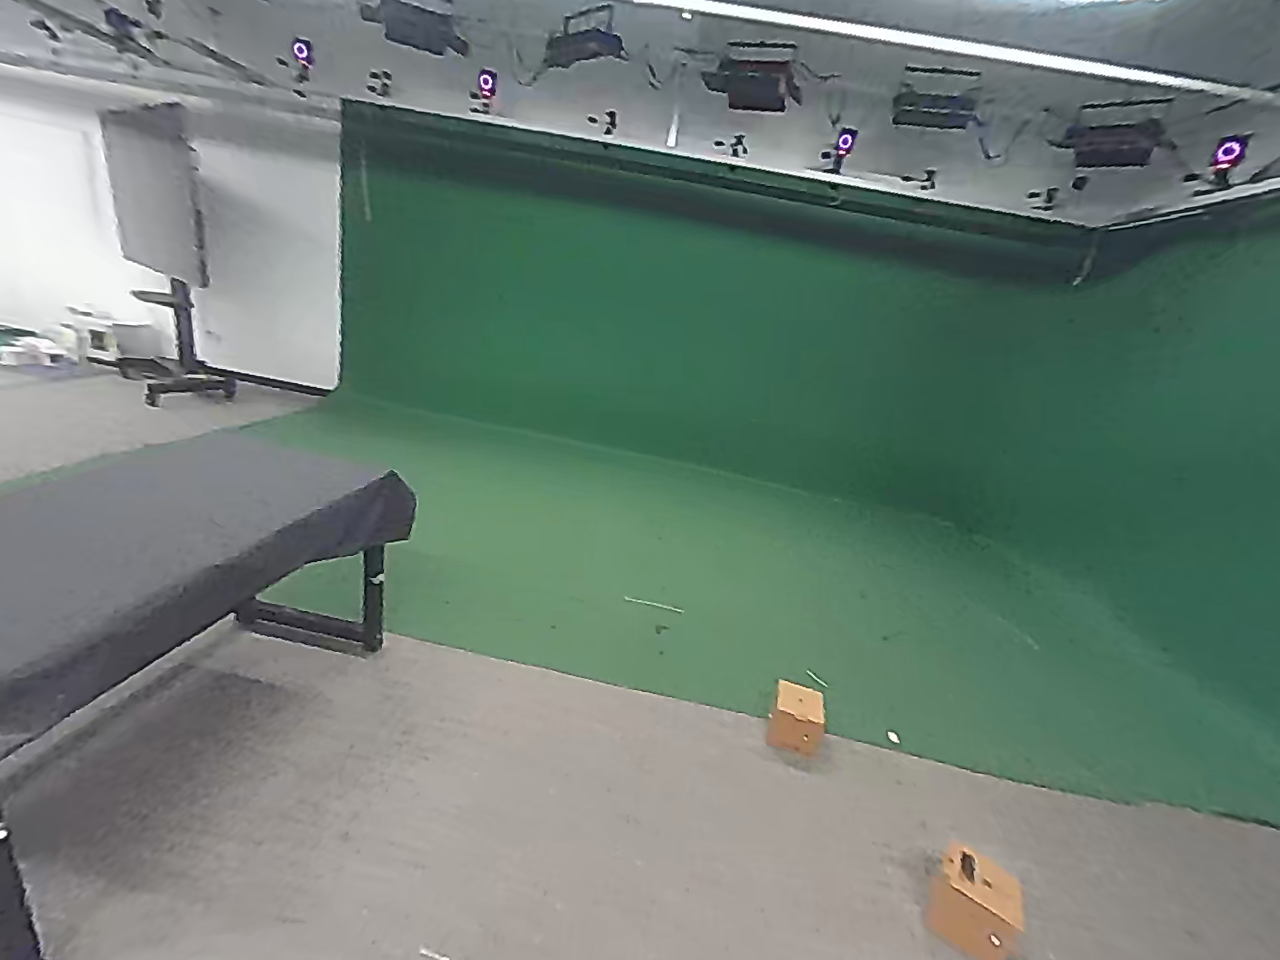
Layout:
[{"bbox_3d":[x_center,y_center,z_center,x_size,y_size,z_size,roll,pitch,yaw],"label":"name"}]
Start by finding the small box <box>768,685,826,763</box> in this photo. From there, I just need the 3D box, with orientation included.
[{"bbox_3d":[0.579,0.903,1.999,0.168,0.176,0.179,15,18,11],"label":"small box"}]
